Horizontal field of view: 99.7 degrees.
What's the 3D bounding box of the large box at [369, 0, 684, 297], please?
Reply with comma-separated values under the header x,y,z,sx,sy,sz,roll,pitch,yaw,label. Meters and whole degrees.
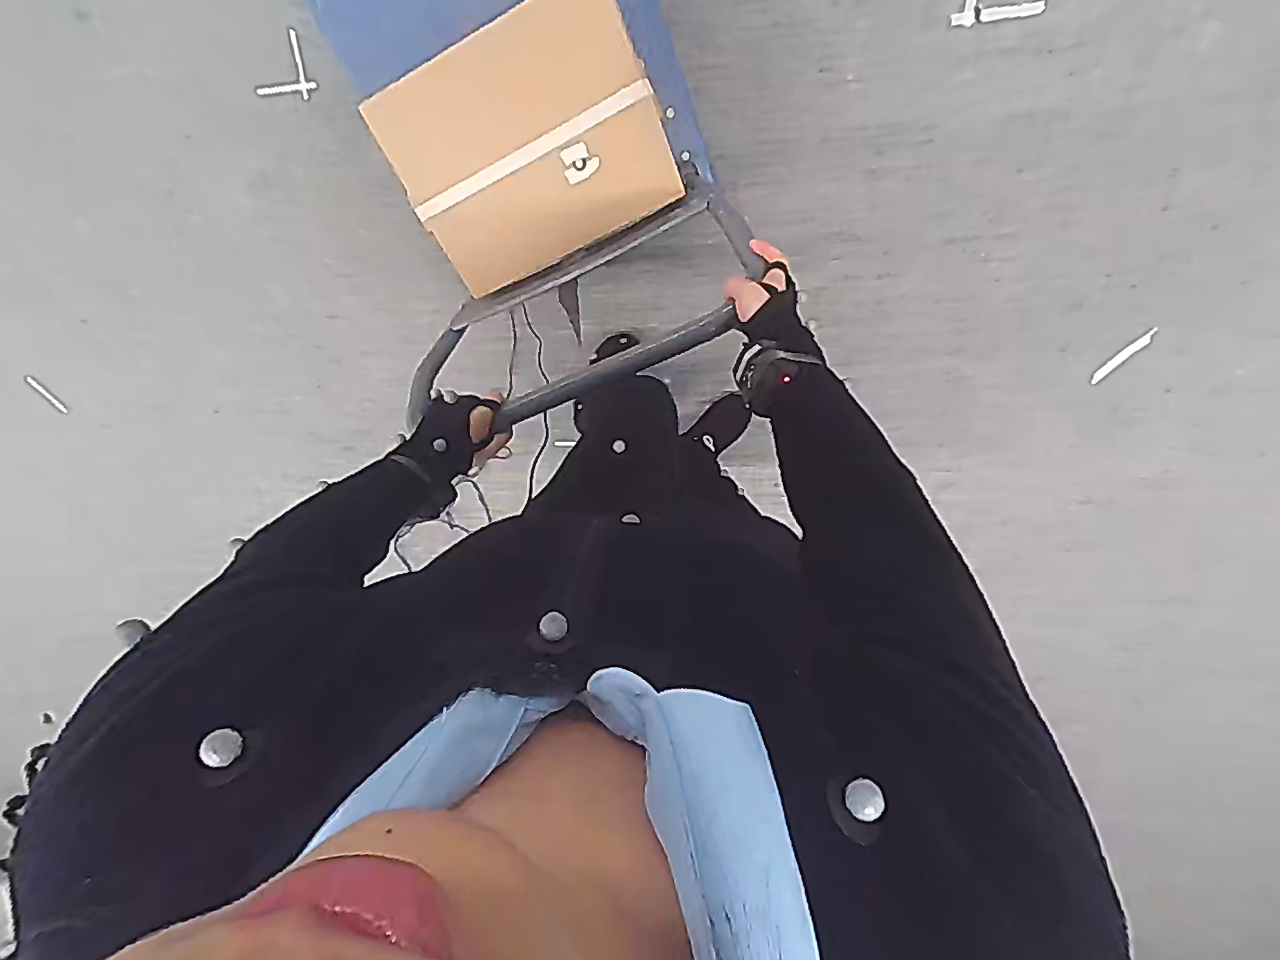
x,y,z,sx,sy,sz,roll,pitch,yaw,label
-0.174,-0.589,0.969,0.408,0.320,0.320,-23,121,12,large box
